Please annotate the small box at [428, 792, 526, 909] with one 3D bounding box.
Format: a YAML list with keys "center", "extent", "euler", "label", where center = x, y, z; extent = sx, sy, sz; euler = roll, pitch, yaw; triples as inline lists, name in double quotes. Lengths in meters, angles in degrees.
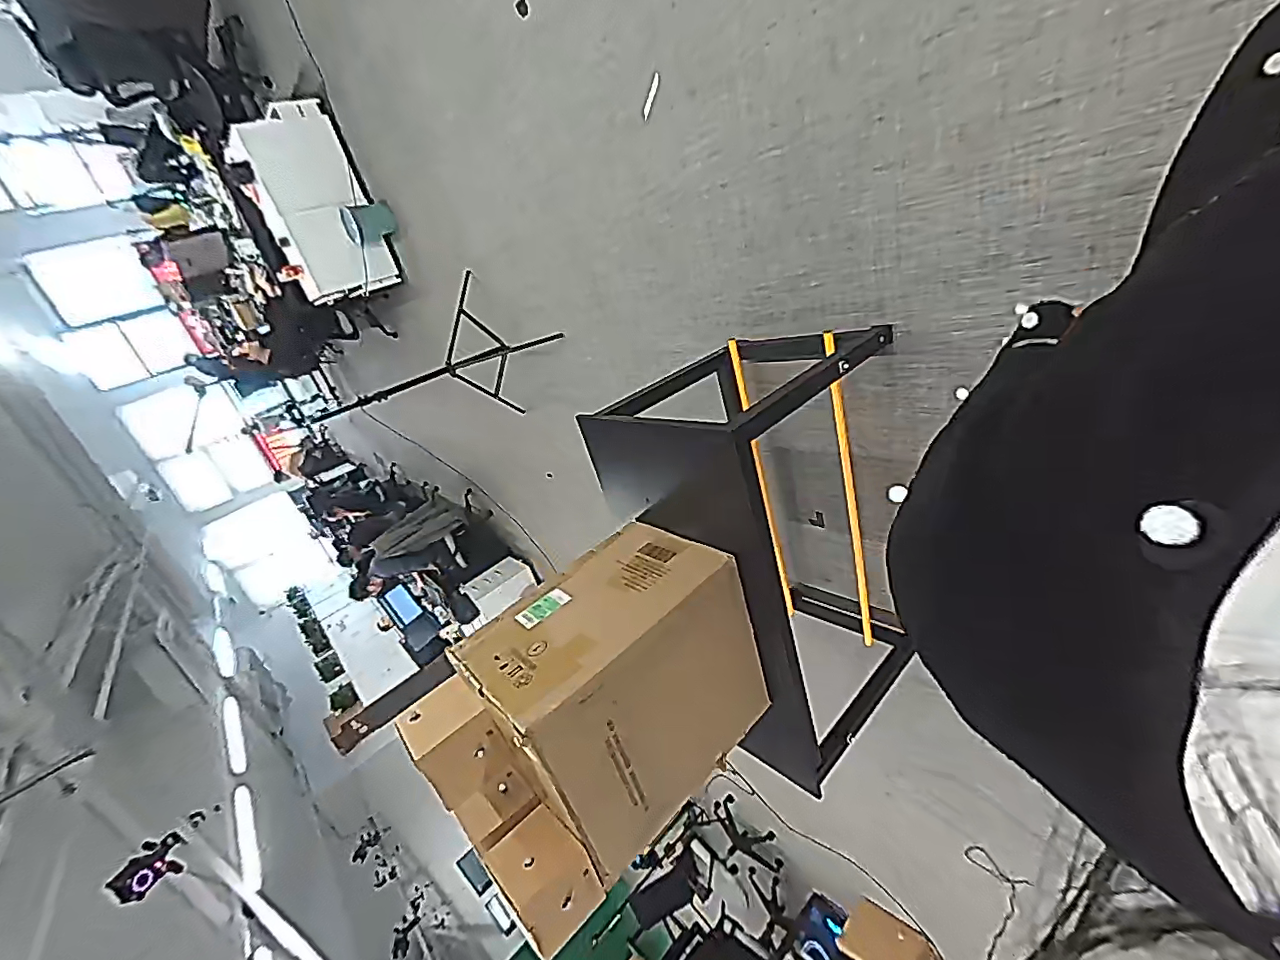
- center: [-0.367, 0.891, 1.270]
  extent: [0.168, 0.176, 0.179]
  euler: [15, 128, 49]
  label: "small box"

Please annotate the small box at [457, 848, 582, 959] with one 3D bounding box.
- center: [-0.239, 0.915, 1.111]
  extent: [0.179, 0.176, 0.168]
  euler: [5, 119, 49]
  label: "small box"

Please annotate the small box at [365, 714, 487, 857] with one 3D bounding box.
- center: [-0.456, 0.641, 1.162]
  extent: [0.179, 0.176, 0.168]
  euler: [13, 130, 51]
  label: "small box"
